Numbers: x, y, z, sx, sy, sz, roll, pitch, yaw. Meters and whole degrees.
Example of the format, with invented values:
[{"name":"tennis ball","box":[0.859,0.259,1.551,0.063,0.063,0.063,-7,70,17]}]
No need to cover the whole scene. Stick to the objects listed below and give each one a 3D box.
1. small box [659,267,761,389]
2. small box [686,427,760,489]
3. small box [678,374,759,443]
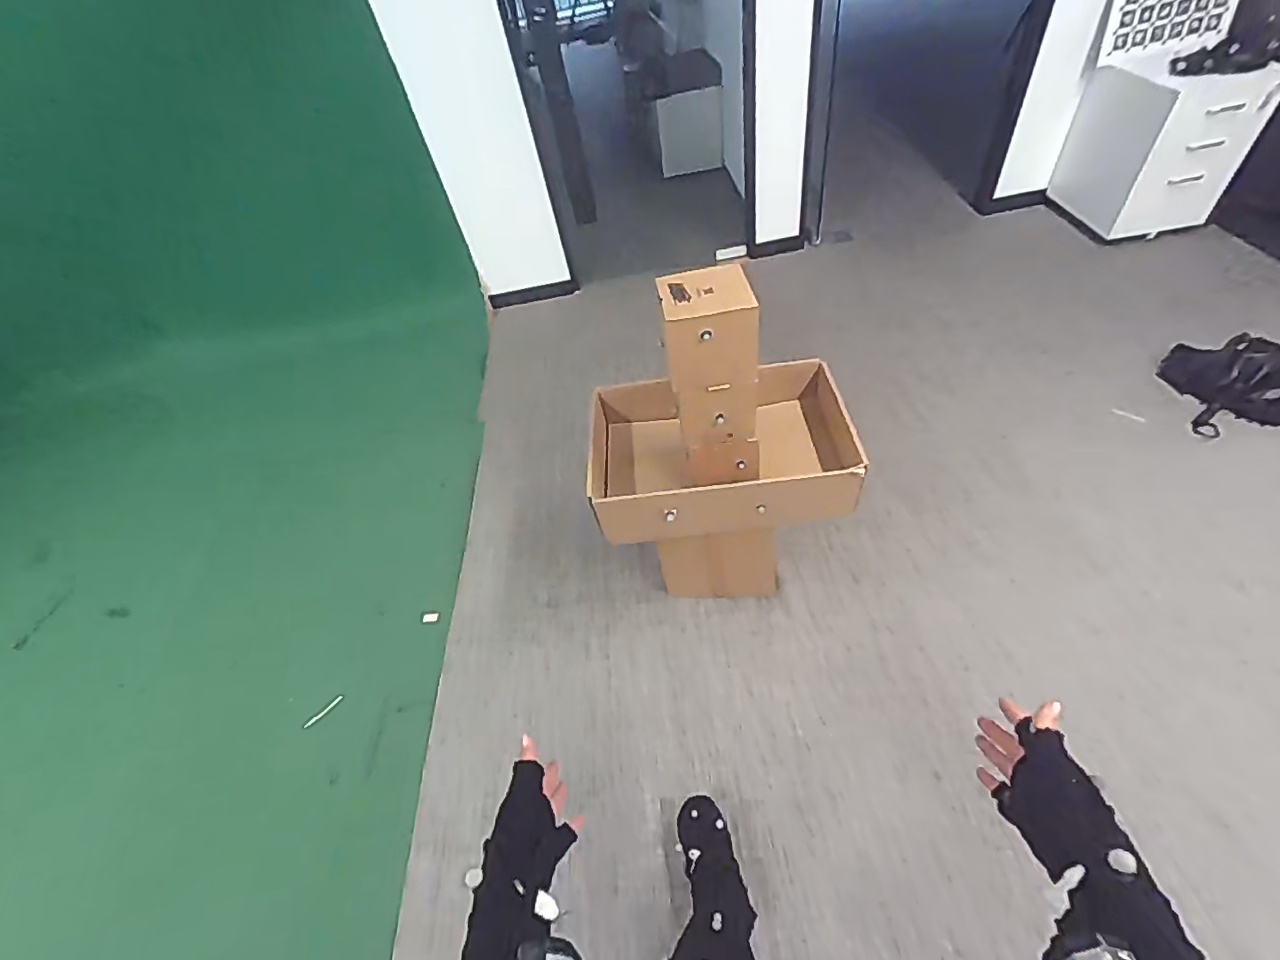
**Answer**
[{"name":"small box","box":[0.141,-0.303,1.096,0.179,0.176,0.168,-8,48,2]},{"name":"small box","box":[0.201,-0.091,1.340,0.168,0.176,0.179,-8,46,3]},{"name":"small box","box":[0.171,-0.199,1.220,0.168,0.176,0.179,-8,49,3]}]
